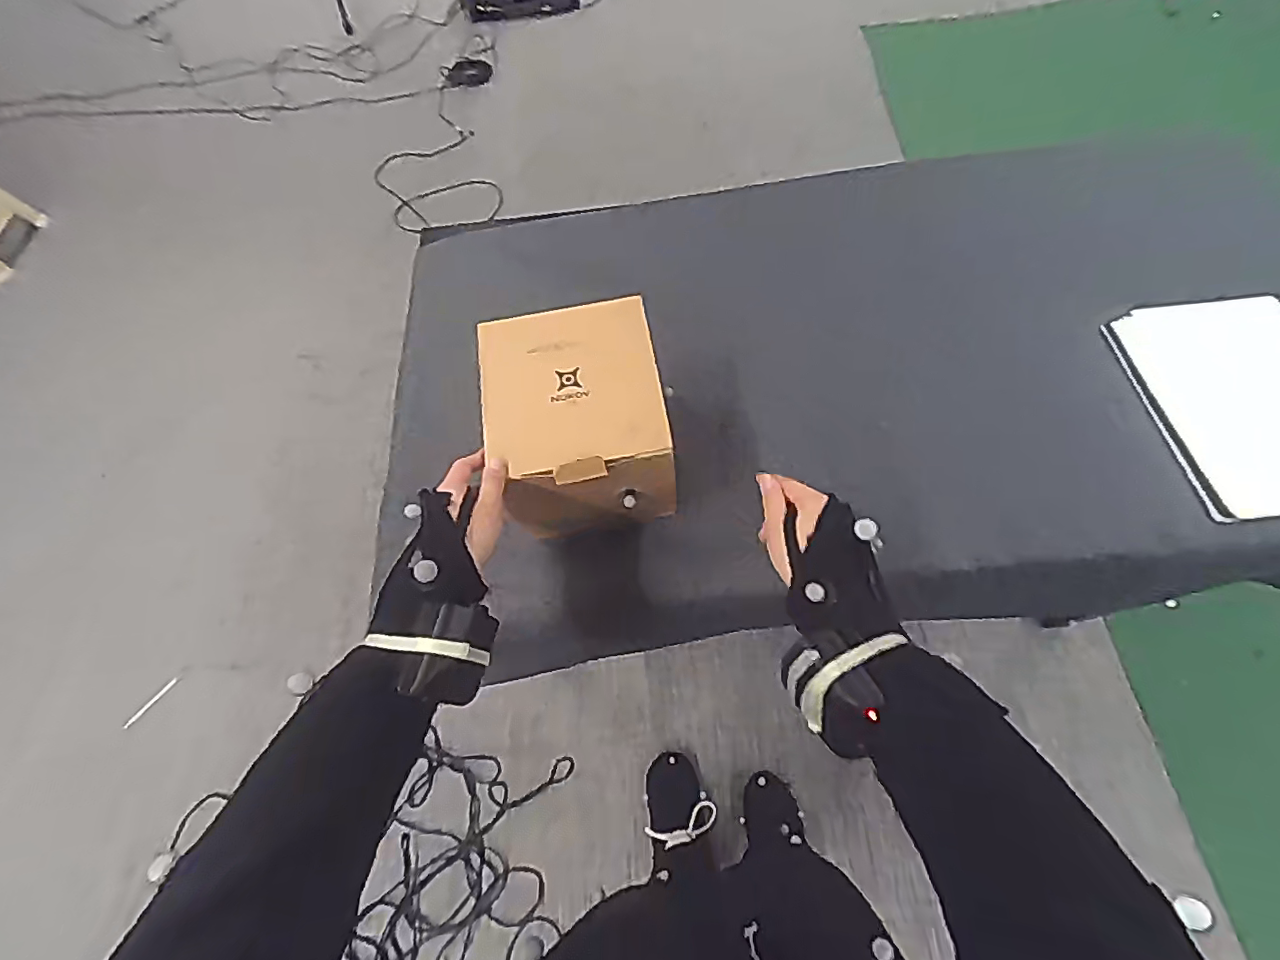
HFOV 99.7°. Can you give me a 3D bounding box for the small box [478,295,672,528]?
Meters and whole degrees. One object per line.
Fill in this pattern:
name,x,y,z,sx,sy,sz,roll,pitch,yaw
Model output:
small box,-0.061,-0.059,0.571,0.168,0.176,0.179,-10,65,-1
